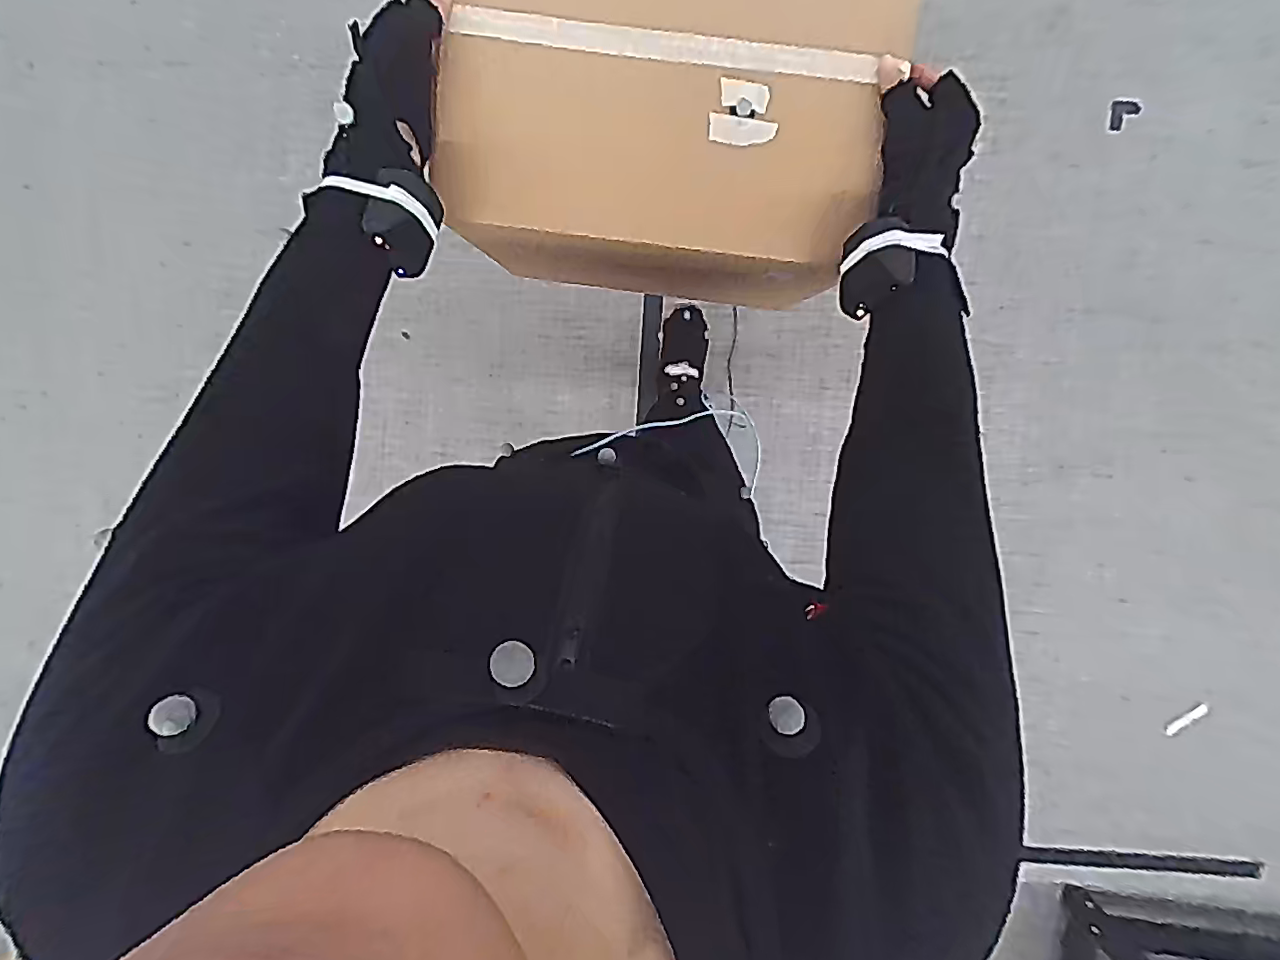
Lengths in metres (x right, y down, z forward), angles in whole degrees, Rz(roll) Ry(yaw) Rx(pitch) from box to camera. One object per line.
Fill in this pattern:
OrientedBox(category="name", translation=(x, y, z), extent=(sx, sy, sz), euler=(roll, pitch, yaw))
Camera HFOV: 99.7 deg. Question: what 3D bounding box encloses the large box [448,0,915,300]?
OrientedBox(category="large box", translation=(0.032, -0.406, 0.620), extent=(0.408, 0.320, 0.320), euler=(7, 101, -1))
